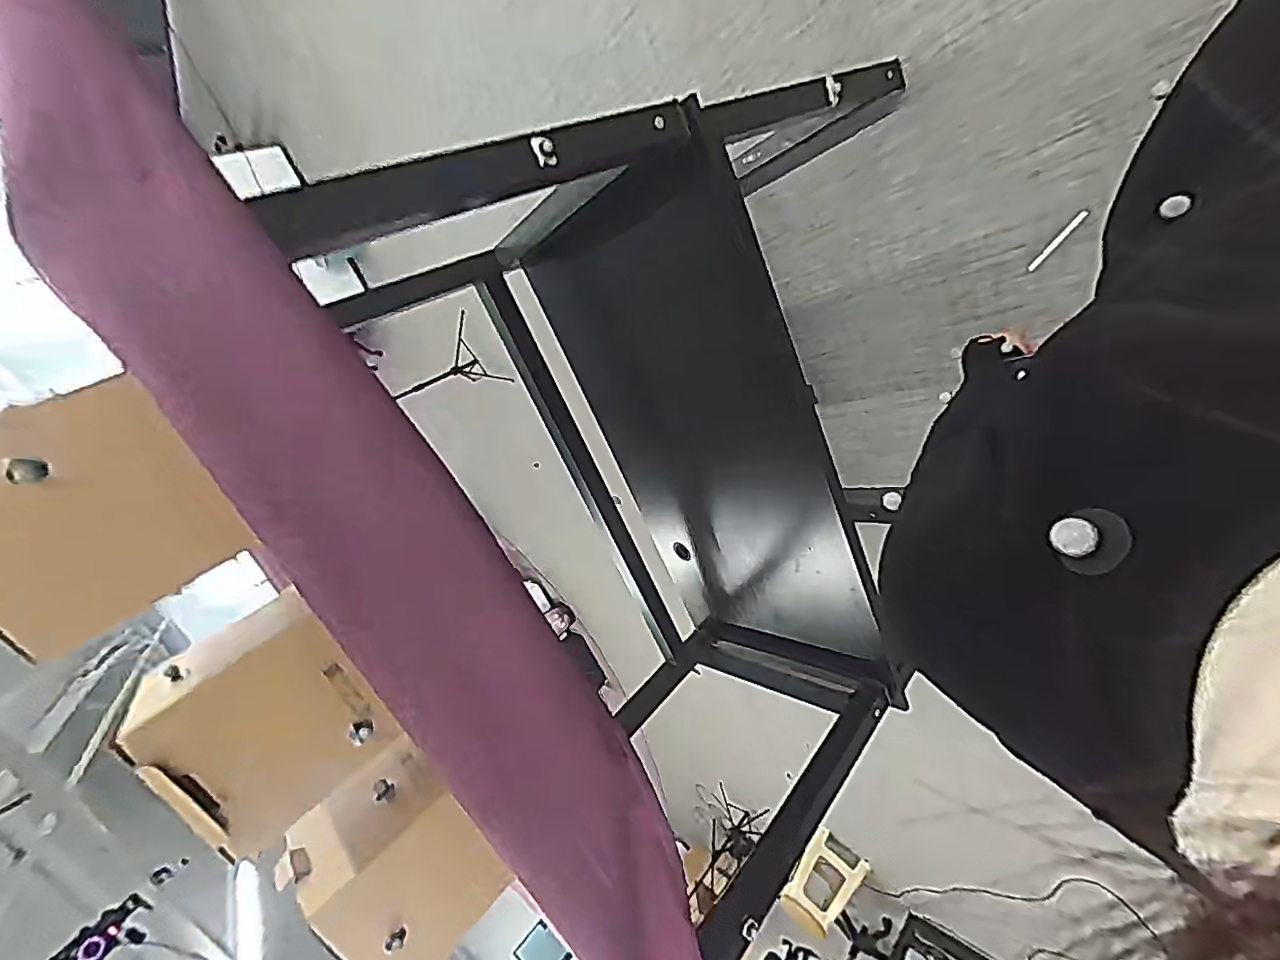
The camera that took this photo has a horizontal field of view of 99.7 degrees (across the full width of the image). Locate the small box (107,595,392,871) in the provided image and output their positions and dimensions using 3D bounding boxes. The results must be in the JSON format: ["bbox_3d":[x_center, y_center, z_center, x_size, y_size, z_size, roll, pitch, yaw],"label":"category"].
[{"bbox_3d":[-0.391,0.242,0.568,0.179,0.176,0.168,1,121,53],"label":"small box"}]

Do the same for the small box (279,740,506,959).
[{"bbox_3d":[-0.294,0.465,0.658,0.168,0.176,0.179,4,124,50],"label":"small box"}]

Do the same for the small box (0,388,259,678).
[{"bbox_3d":[-0.479,0.028,0.473,0.168,0.176,0.179,7,127,51],"label":"small box"}]
